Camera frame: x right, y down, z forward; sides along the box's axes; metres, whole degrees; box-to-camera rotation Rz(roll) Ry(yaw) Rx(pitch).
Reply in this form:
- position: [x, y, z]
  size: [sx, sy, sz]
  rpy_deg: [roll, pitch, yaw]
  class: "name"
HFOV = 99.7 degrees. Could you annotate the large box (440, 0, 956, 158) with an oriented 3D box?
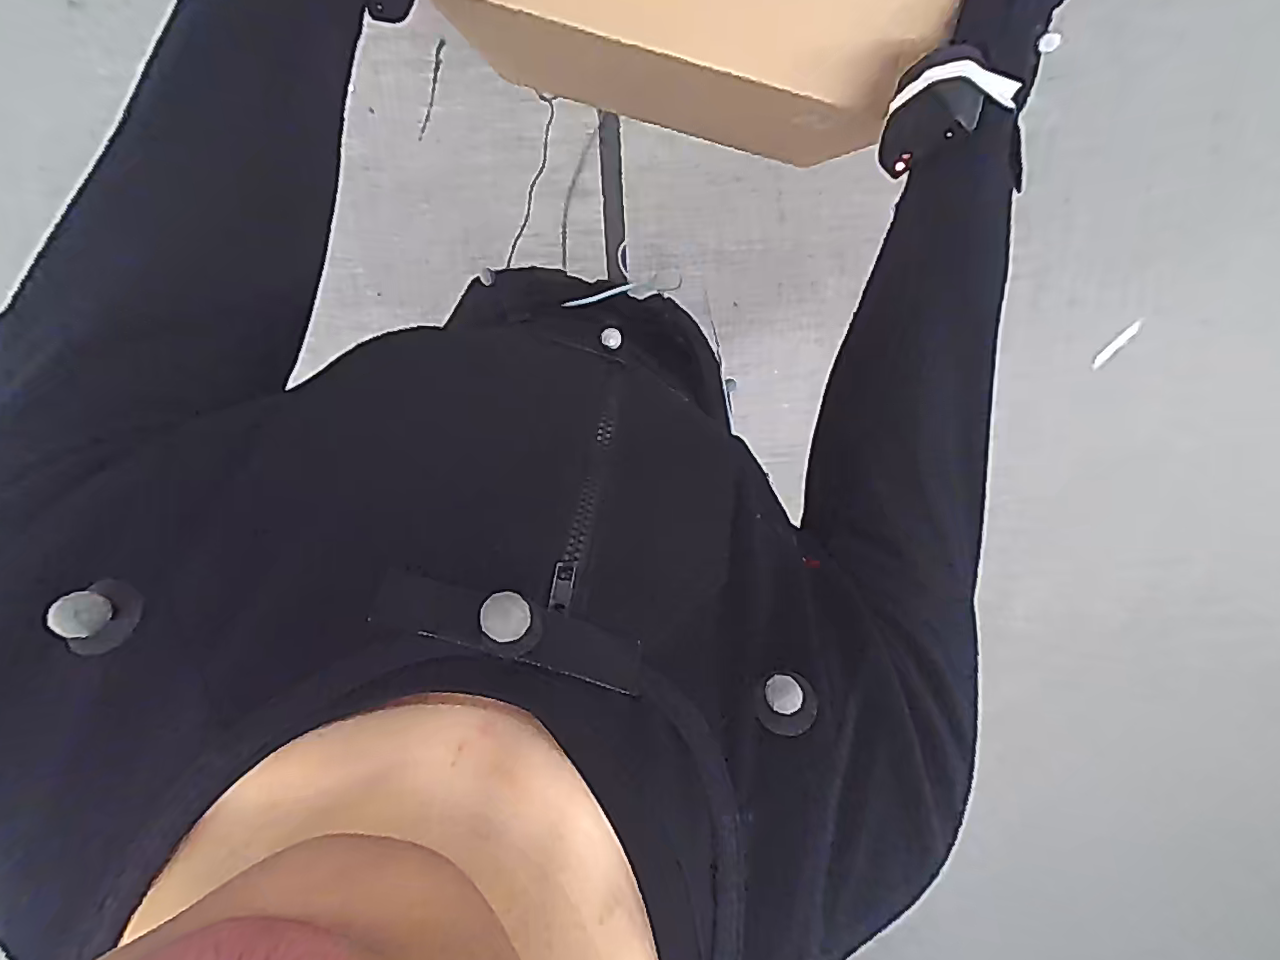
- position: [0.057, -0.525, 0.486]
  size: [0.408, 0.320, 0.320]
  rpy_deg: [12, 115, -6]
  class: "large box"
